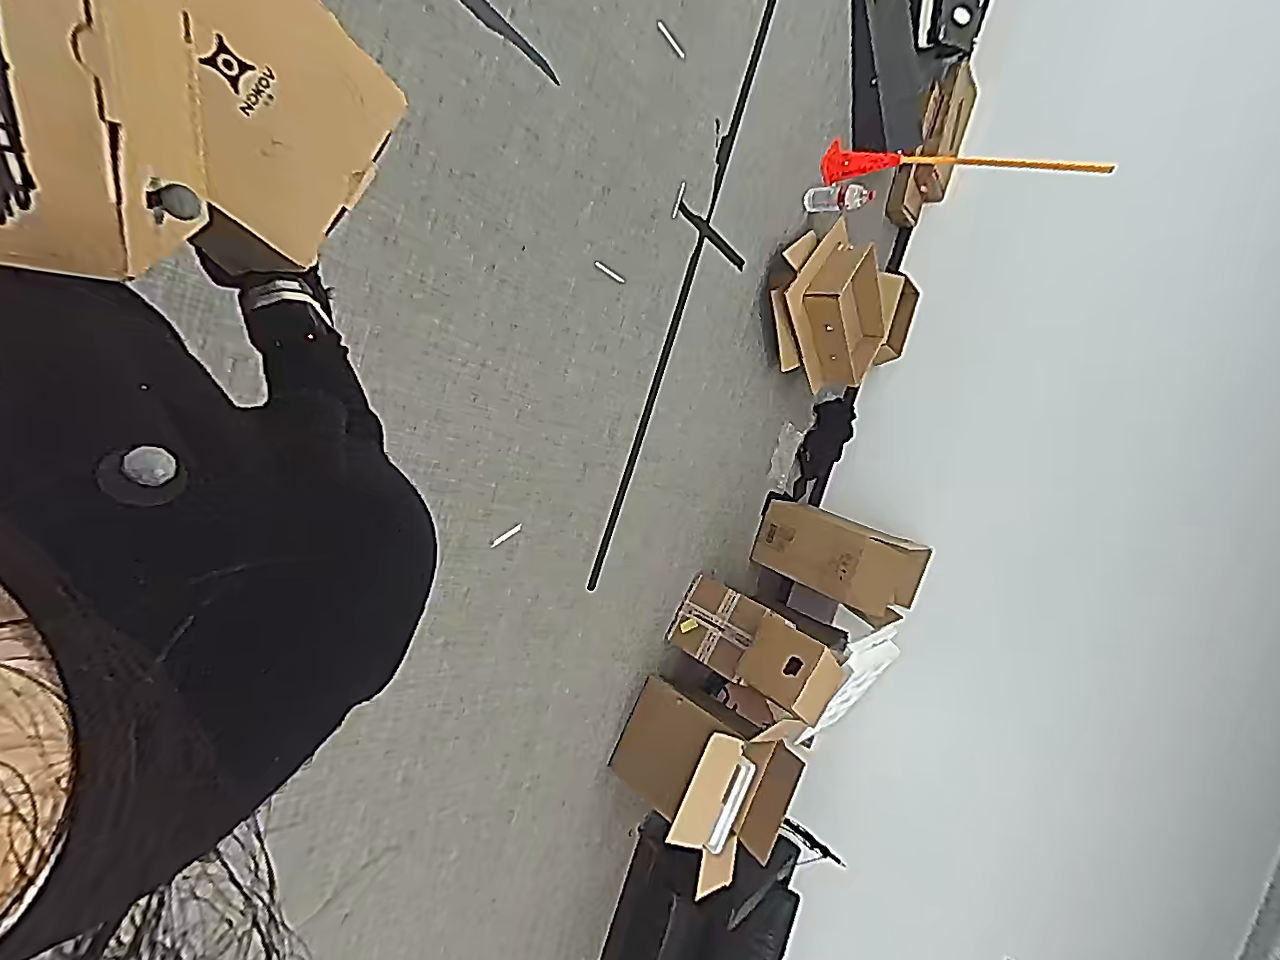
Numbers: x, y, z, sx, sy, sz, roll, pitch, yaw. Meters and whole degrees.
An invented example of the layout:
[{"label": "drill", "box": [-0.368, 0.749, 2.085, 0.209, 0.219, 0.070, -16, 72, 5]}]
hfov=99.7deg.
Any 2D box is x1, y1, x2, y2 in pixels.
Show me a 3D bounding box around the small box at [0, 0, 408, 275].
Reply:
[{"label": "small box", "box": [-0.326, -0.283, 0.410, 0.179, 0.176, 0.168, 39, 72, -53]}]
